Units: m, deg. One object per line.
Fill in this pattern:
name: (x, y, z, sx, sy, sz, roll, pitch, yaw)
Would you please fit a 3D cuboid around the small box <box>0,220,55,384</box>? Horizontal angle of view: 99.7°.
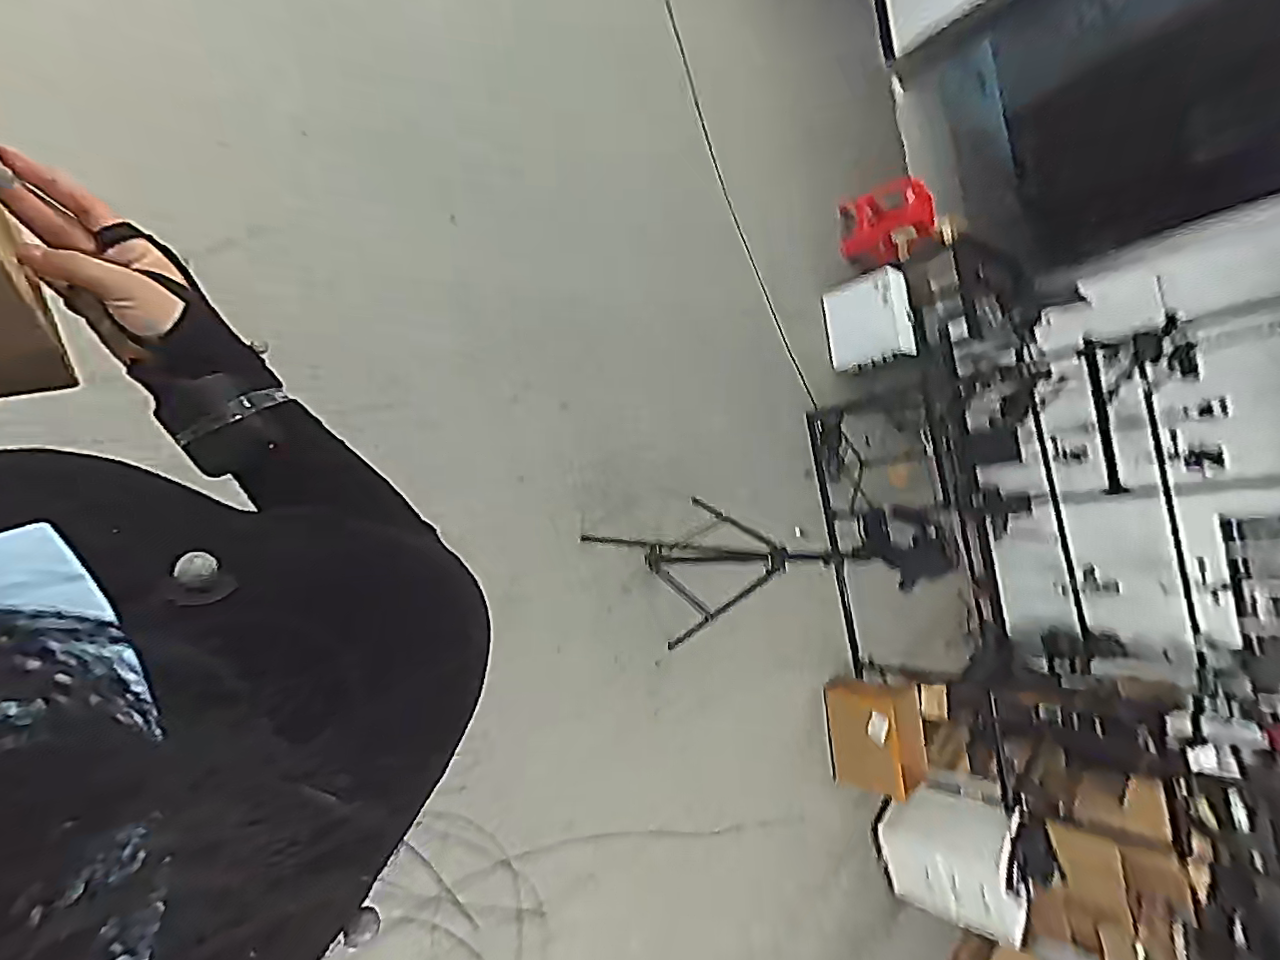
small box: (-0.467, -0.149, 0.283, 0.168, 0.176, 0.179, -23, 85, -39)
